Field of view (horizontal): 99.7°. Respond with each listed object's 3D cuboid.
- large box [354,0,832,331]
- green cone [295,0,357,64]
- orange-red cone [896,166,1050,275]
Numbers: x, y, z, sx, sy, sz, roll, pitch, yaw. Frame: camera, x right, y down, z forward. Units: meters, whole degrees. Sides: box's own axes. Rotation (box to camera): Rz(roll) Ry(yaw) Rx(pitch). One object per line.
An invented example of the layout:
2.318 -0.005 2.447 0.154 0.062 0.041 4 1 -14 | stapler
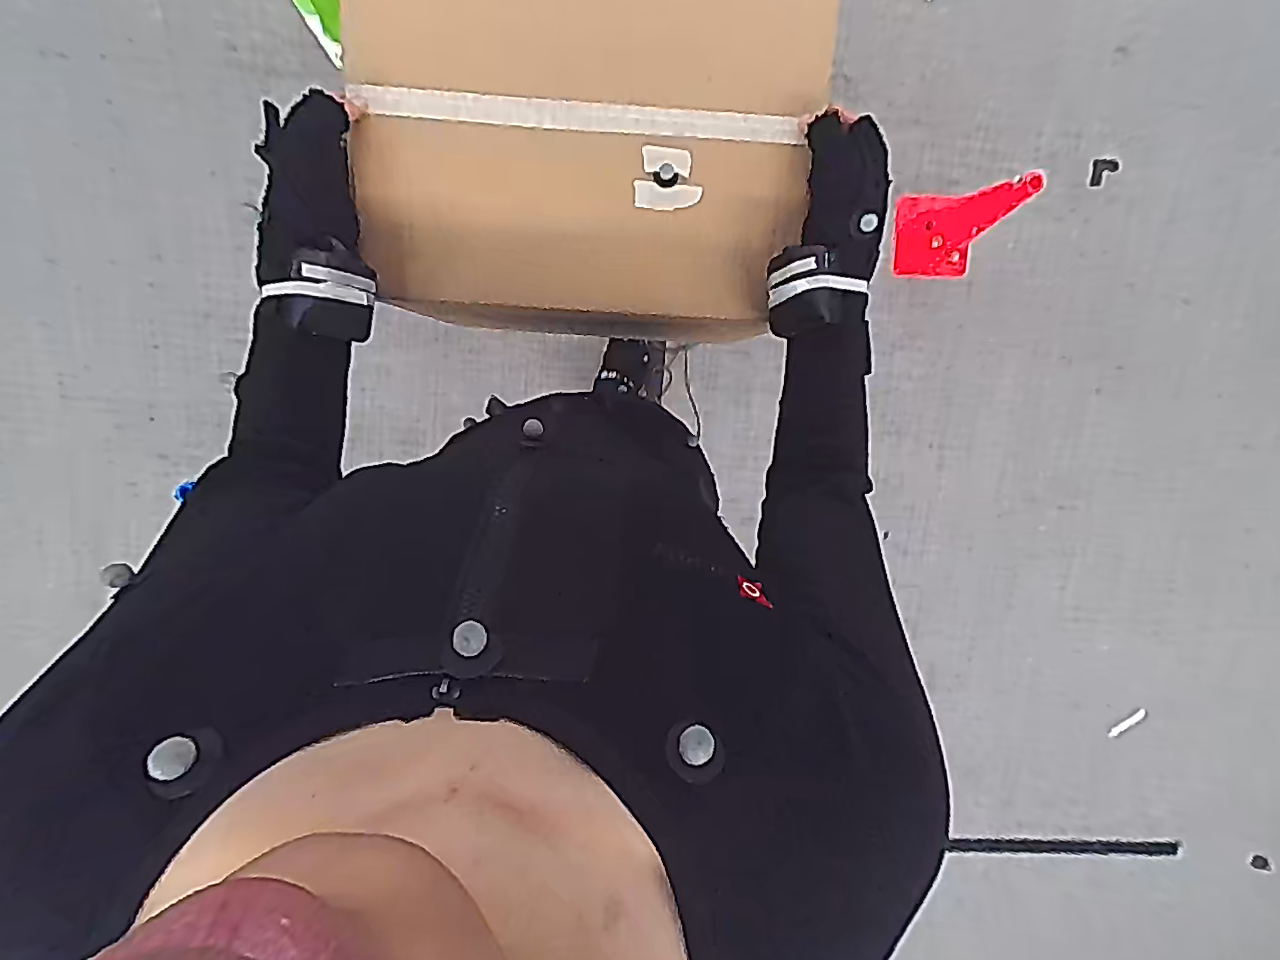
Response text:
-0.048 -0.346 0.608 0.408 0.320 0.320 2 101 -3 | large box
-0.686 -1.097 1.104 0.202 0.368 0.200 -34 97 4 | green cone
0.769 -0.616 1.224 0.198 0.360 0.199 1 96 -3 | orange-red cone
